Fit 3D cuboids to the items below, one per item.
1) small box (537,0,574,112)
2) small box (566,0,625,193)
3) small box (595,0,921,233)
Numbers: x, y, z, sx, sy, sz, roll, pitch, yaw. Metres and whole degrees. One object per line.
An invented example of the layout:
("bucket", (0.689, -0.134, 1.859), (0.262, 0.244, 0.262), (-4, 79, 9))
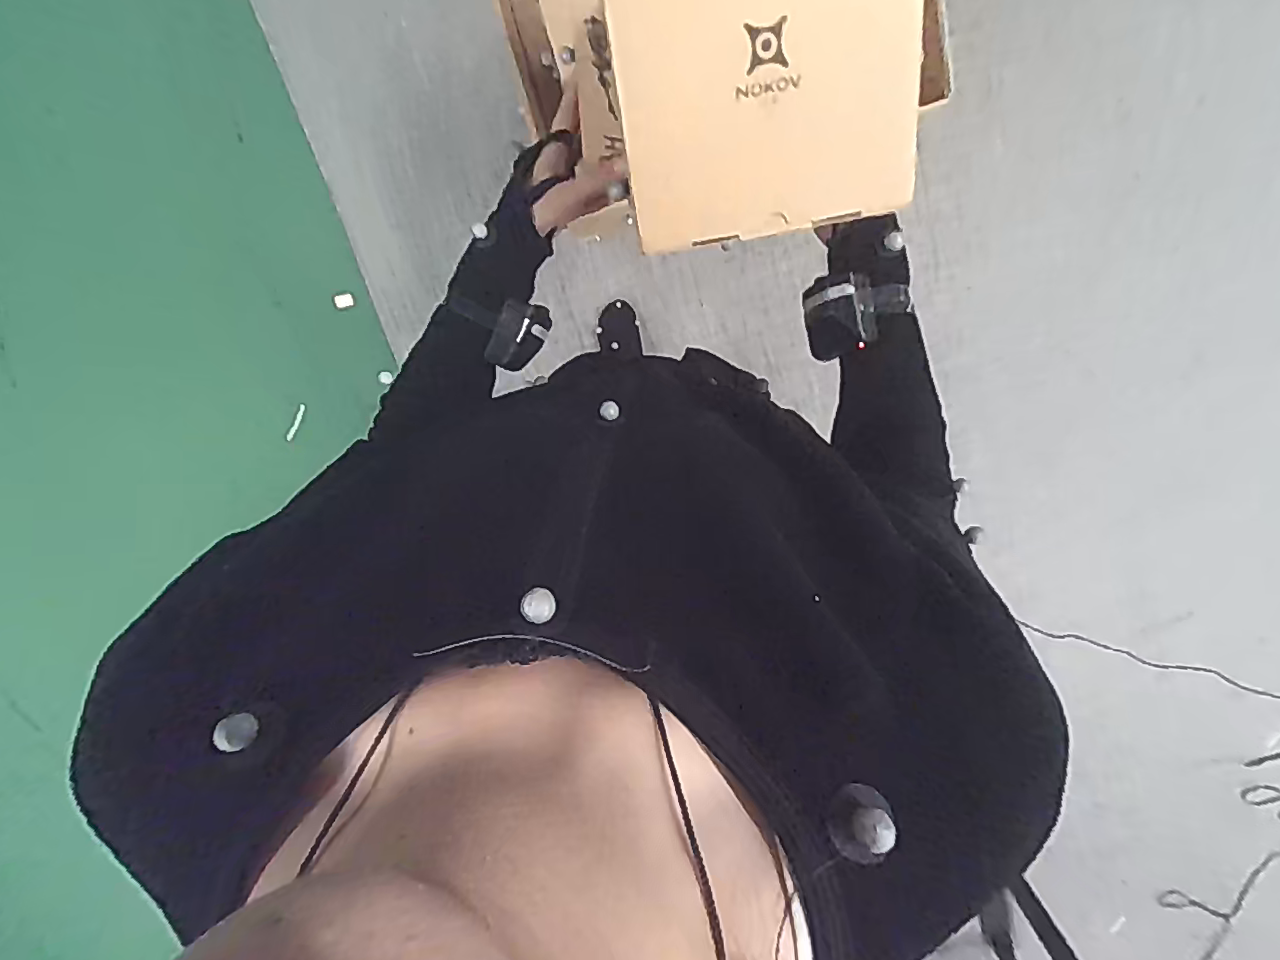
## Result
("small box", (-0.033, -0.580, 0.677), (0.168, 0.176, 0.179), (-15, 104, 6))
("small box", (0.032, -0.360, 0.490), (0.179, 0.176, 0.168), (-2, 114, 1))
("small box", (0.061, -0.268, 0.352), (0.168, 0.176, 0.179), (-9, 116, 4))
